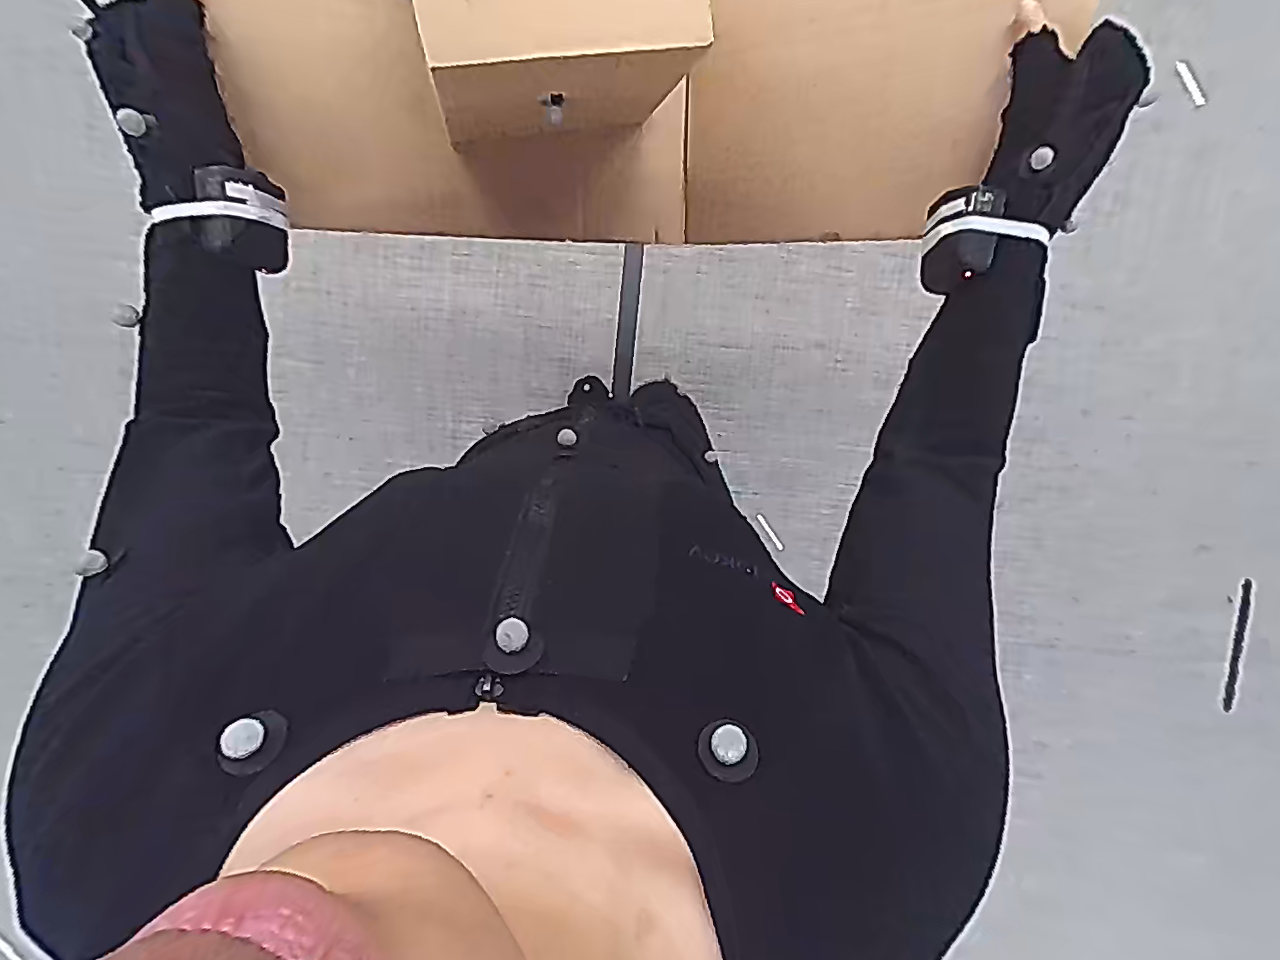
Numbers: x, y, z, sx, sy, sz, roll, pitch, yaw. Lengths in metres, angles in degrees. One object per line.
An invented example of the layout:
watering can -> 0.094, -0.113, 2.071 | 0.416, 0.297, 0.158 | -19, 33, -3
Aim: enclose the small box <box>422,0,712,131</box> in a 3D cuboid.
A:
small box -> -0.066, -0.362, 0.375 | 0.179, 0.176, 0.168 | -13, 112, -10
